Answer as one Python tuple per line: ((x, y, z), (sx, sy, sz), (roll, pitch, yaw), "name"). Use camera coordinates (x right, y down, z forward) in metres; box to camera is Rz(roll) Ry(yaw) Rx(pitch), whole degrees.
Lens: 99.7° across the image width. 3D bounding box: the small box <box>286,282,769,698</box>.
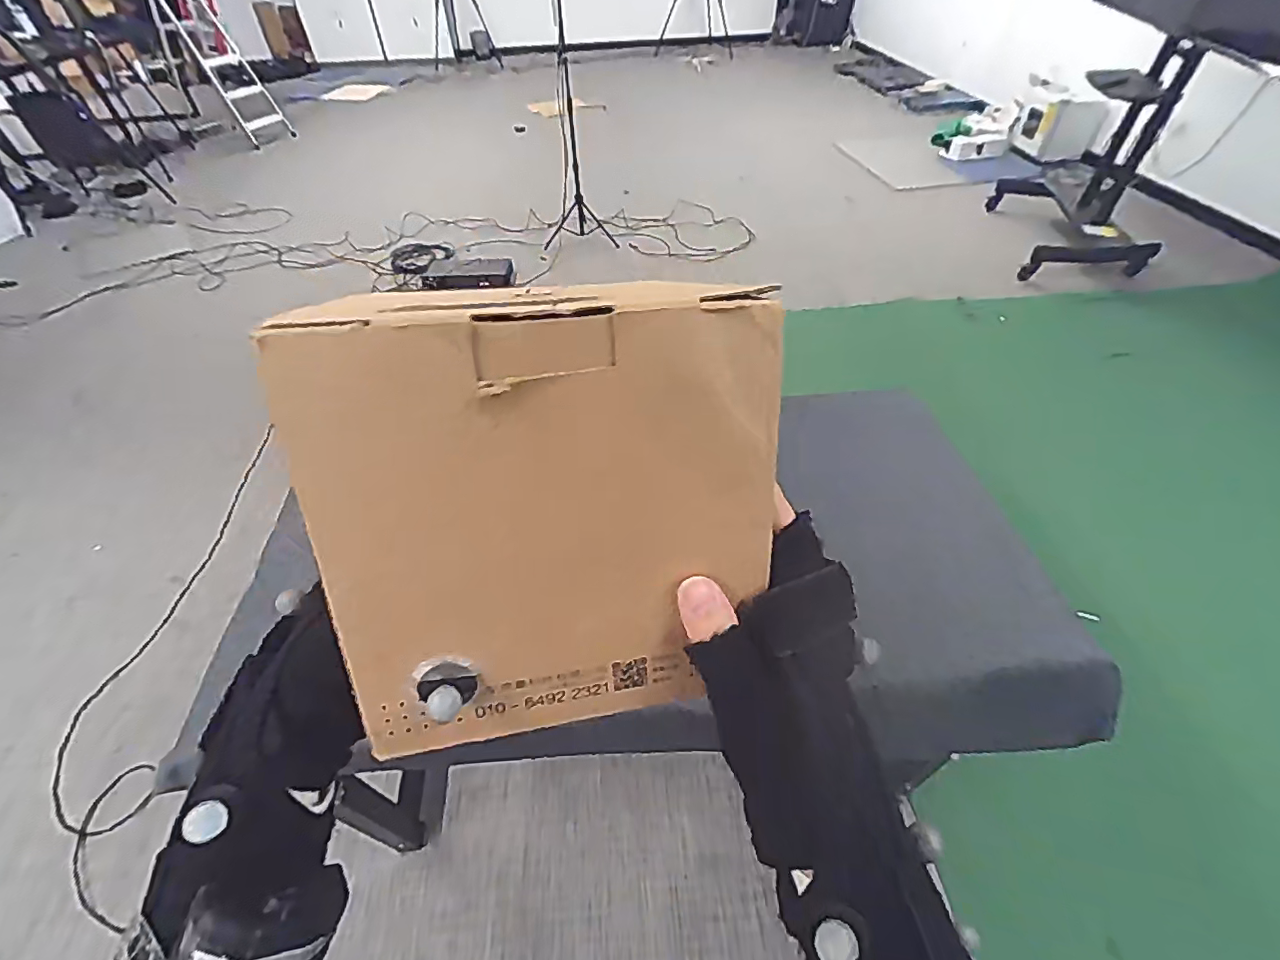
((-0.045, -0.009, 0.285), (0.168, 0.176, 0.179), (-6, 21, -12), "small box")
